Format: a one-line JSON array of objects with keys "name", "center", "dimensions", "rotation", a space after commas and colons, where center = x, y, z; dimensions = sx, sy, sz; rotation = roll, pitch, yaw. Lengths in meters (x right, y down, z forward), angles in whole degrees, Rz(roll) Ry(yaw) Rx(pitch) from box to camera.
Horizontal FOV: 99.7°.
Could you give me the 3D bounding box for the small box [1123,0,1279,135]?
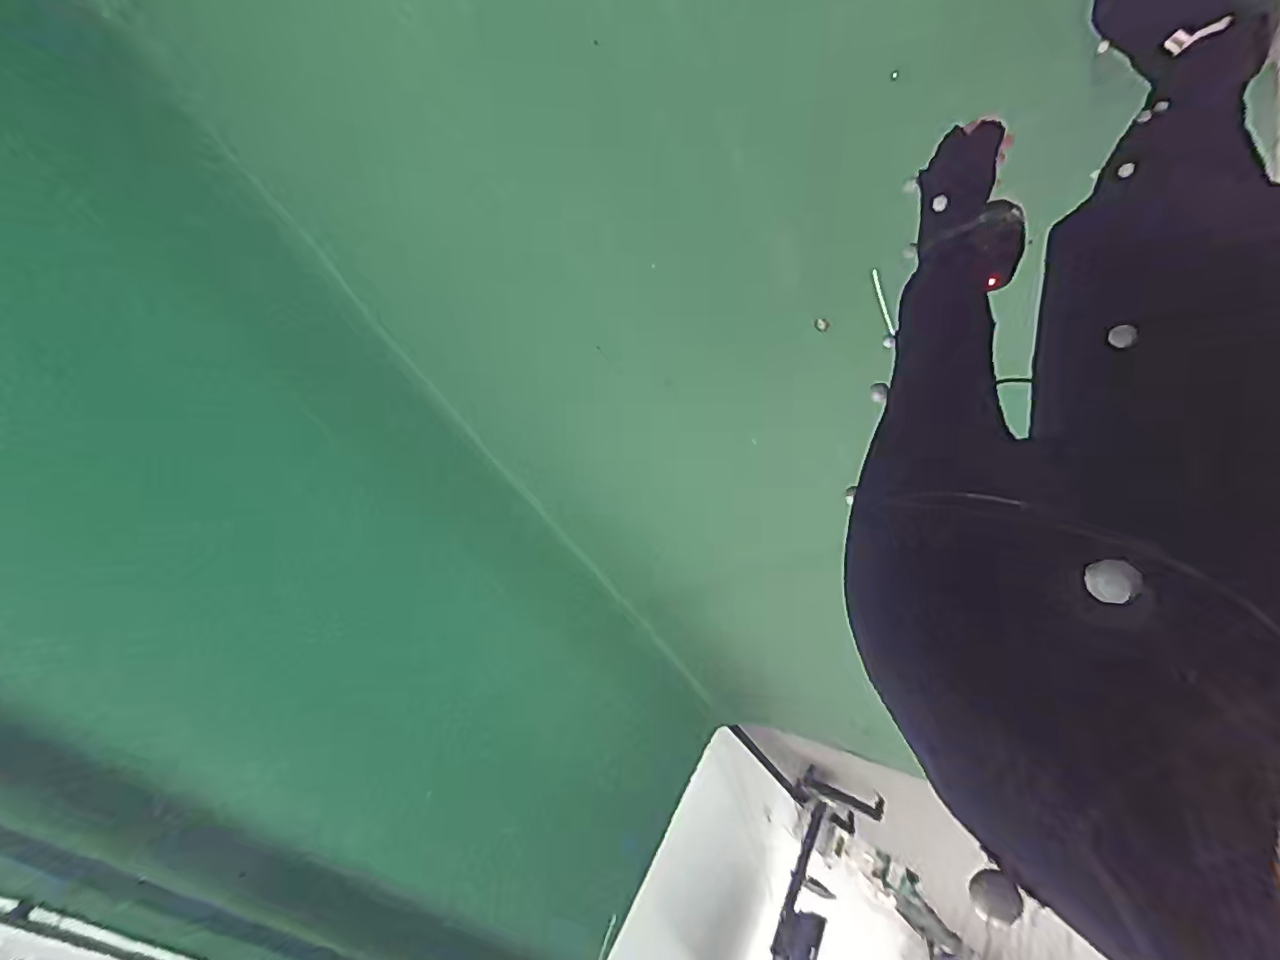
[{"name": "small box", "center": [0.845, -0.658, 0.784], "dimensions": [0.179, 0.176, 0.168], "rotation": [44, 139, -19]}]
